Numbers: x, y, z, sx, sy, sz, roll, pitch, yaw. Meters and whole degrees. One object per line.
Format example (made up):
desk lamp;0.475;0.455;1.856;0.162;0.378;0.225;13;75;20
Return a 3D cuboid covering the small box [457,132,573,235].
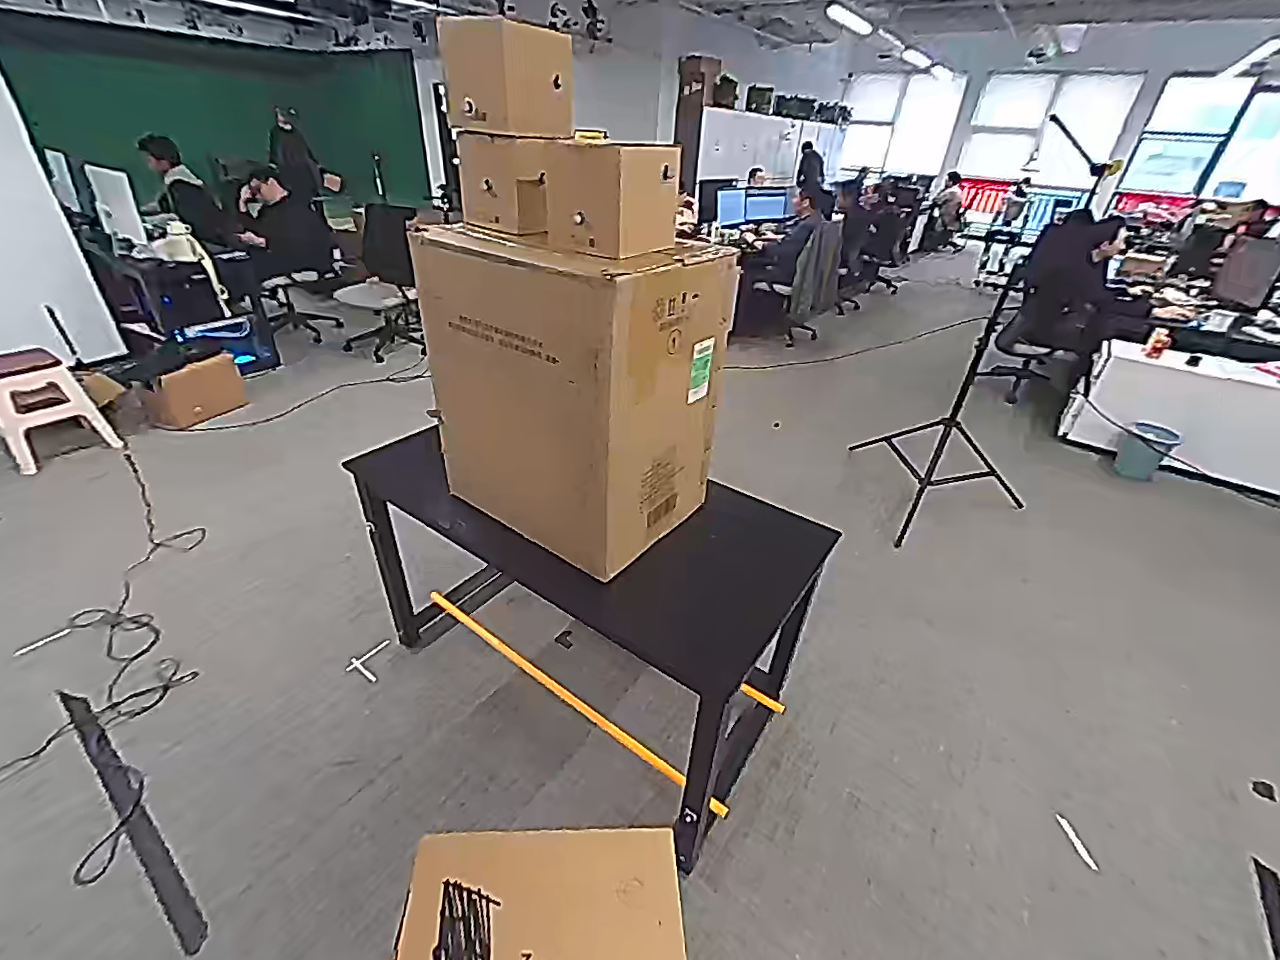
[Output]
small box;-0.245;-0.610;1.111;0.168;0.176;0.179;24;38;26

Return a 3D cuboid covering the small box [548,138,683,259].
small box;-0.044;-0.501;0.959;0.168;0.176;0.179;22;38;29

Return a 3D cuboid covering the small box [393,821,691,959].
small box;-0.064;0.350;0.354;0.179;0.176;0.168;3;37;-8

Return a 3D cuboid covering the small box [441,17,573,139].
small box;-0.243;-0.742;1.013;0.168;0.176;0.179;22;37;27
